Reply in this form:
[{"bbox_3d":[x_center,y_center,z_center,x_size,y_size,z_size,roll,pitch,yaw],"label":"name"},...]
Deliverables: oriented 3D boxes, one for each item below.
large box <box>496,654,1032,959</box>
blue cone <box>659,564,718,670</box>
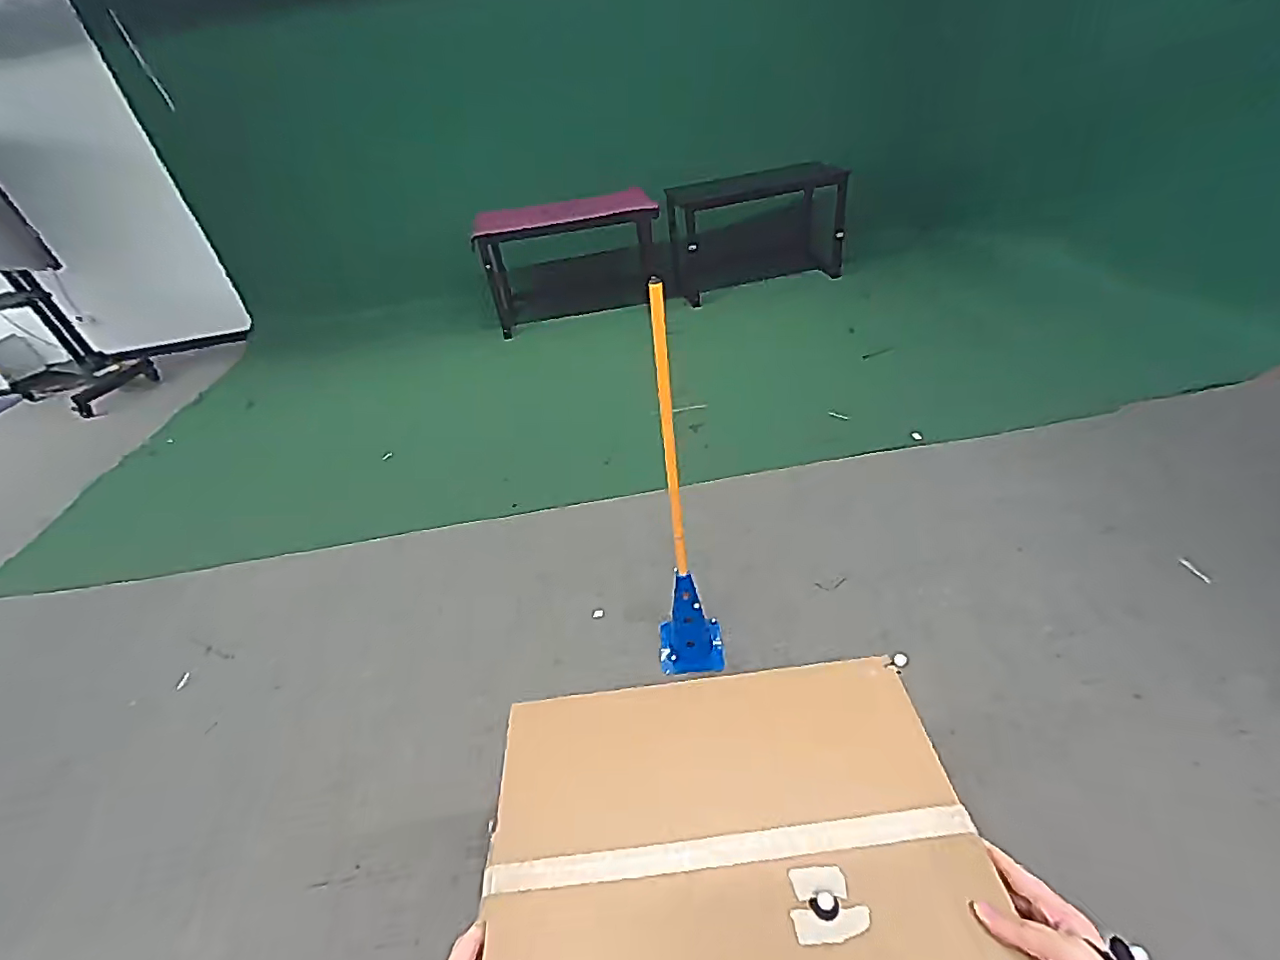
[{"bbox_3d":[0.091,0.422,0.560,0.408,0.320,0.320,-7,40,0],"label":"large box"},{"bbox_3d":[0.140,0.414,1.686,0.193,0.380,0.192,-4,37,6],"label":"blue cone"}]
